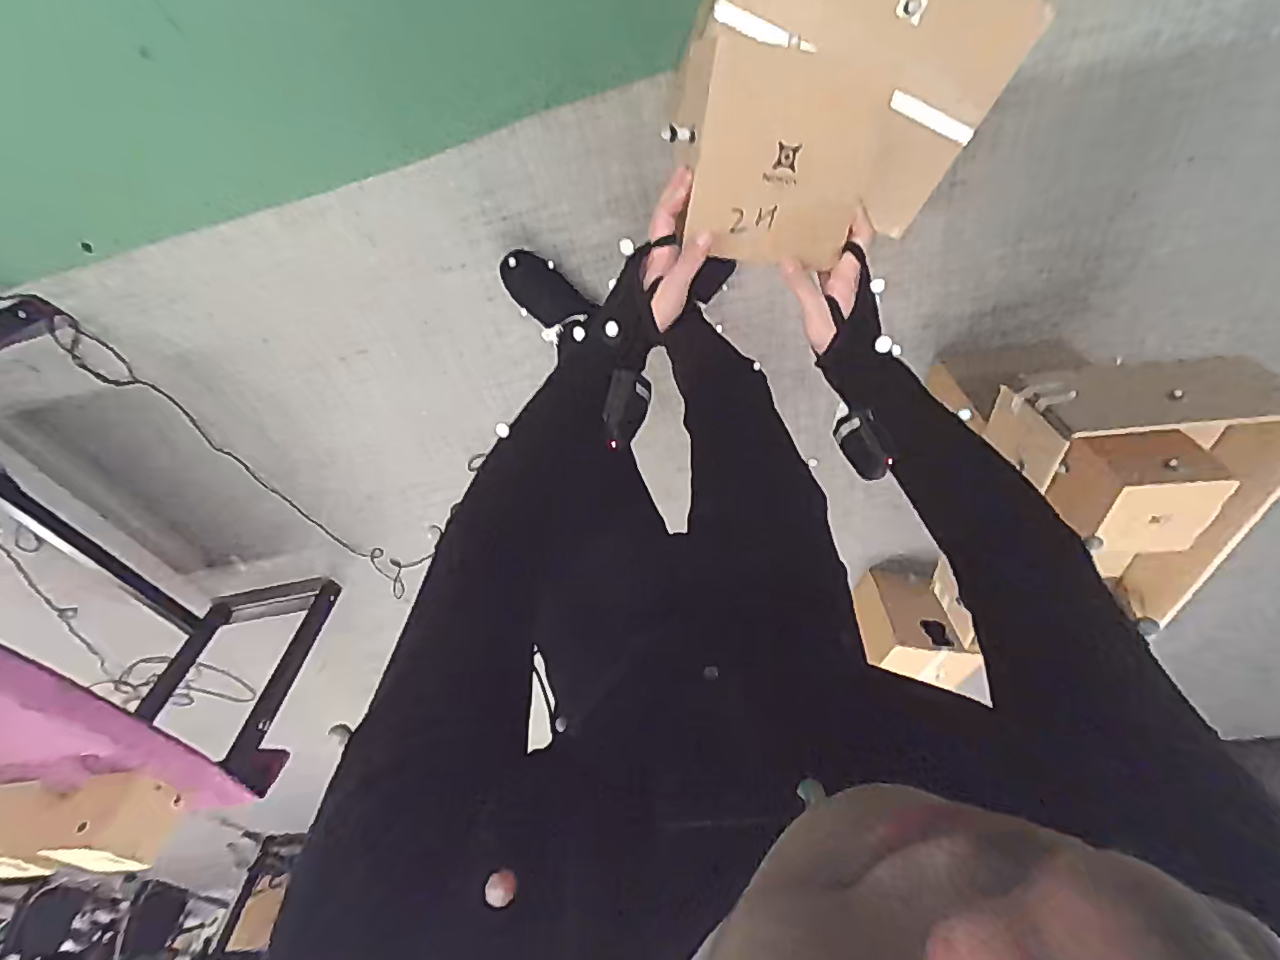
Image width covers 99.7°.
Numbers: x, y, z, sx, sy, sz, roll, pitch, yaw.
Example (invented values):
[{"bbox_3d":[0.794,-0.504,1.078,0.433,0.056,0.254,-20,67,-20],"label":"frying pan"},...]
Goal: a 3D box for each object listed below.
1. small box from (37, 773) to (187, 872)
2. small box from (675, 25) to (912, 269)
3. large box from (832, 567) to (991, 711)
[{"bbox_3d":[-1.275,0.838,1.328,0.179,0.176,0.168,-10,130,11],"label":"small box"},{"bbox_3d":[0.134,-0.339,0.557,0.168,0.176,0.179,4,127,-6],"label":"small box"},{"bbox_3d":[0.925,0.565,1.915,0.320,0.320,0.408,7,130,-5],"label":"large box"}]
